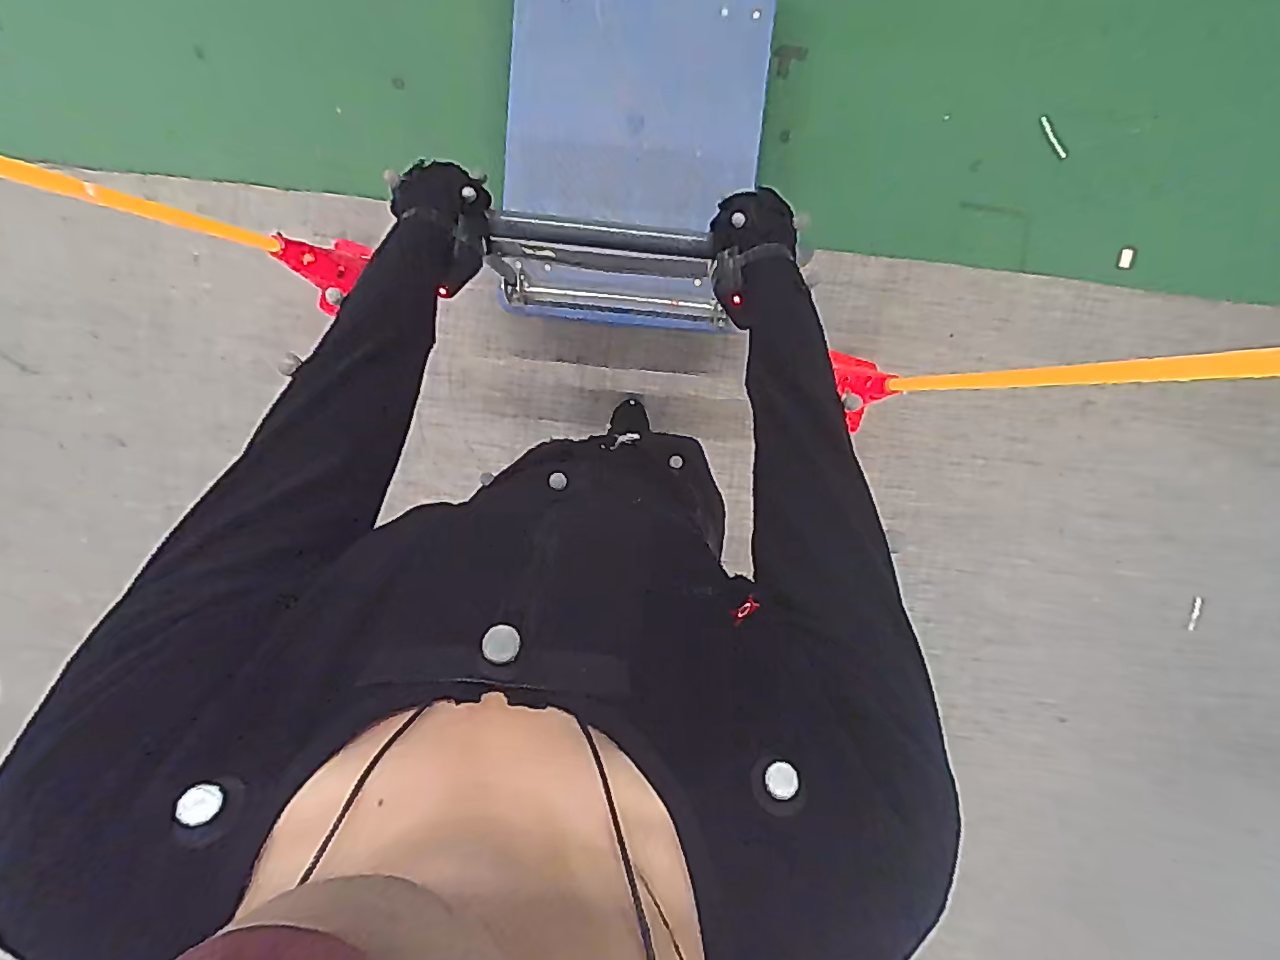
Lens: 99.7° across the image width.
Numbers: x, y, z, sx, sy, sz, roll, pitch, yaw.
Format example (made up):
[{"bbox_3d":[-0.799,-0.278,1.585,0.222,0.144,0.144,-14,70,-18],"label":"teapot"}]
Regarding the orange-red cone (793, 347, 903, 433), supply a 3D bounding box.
[{"bbox_3d":[0.531,-0.221,1.296,0.198,0.360,0.199,17,97,-2],"label":"orange-red cone"}]
